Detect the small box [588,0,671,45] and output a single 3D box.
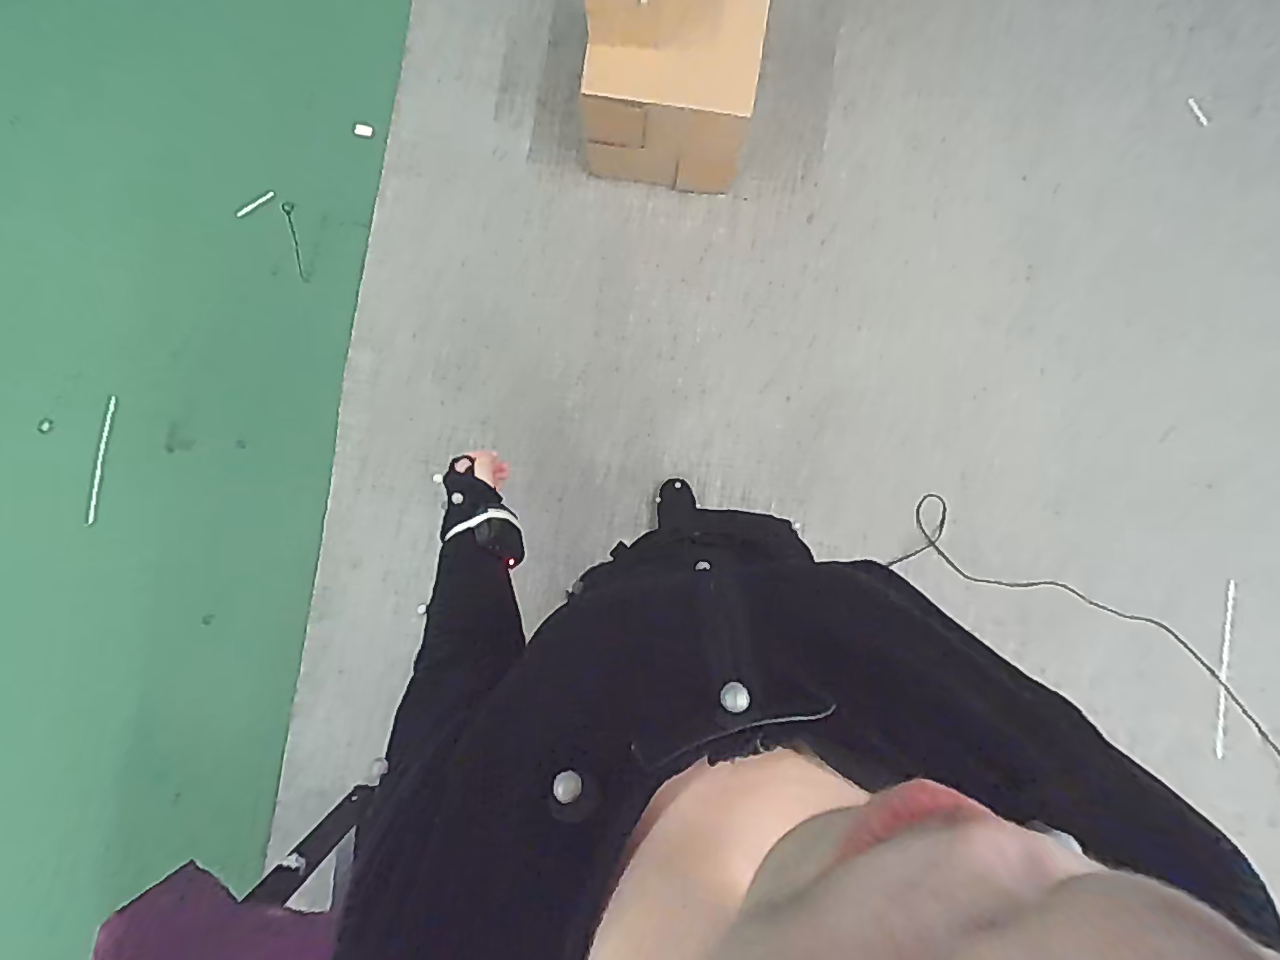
[{"bbox_3d":[-0.016,-1.088,1.165,0.179,0.176,0.168,7,85,2],"label":"small box"}]
